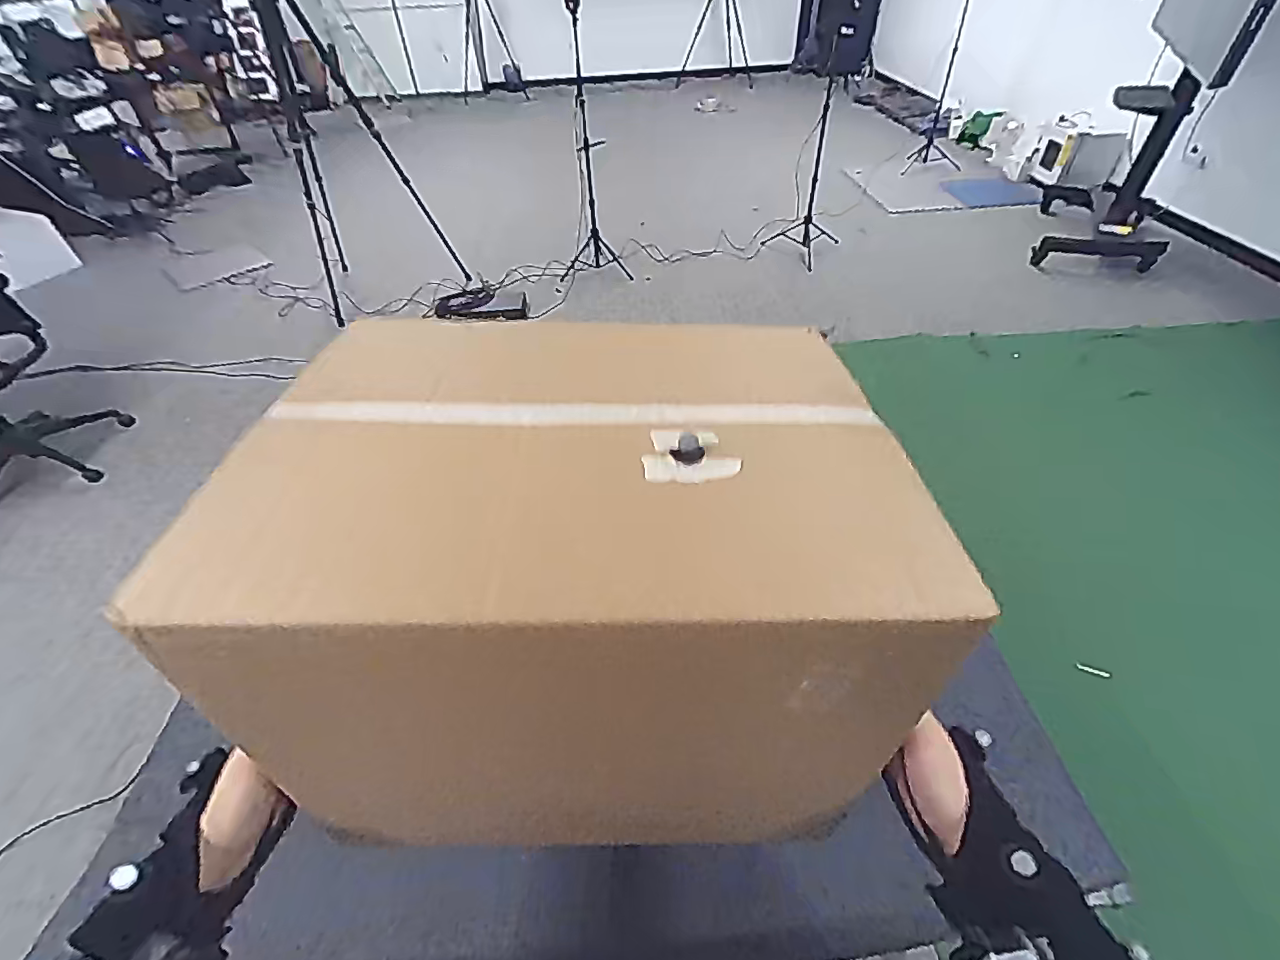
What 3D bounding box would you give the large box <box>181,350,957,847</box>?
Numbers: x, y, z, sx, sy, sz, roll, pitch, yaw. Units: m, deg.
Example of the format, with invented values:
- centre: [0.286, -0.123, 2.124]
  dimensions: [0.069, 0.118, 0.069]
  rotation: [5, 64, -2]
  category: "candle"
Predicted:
- centre: [-0.041, 0.092, 0.481]
  dimensions: [0.408, 0.320, 0.320]
  rotation: [0, 40, -3]
  category: "large box"
